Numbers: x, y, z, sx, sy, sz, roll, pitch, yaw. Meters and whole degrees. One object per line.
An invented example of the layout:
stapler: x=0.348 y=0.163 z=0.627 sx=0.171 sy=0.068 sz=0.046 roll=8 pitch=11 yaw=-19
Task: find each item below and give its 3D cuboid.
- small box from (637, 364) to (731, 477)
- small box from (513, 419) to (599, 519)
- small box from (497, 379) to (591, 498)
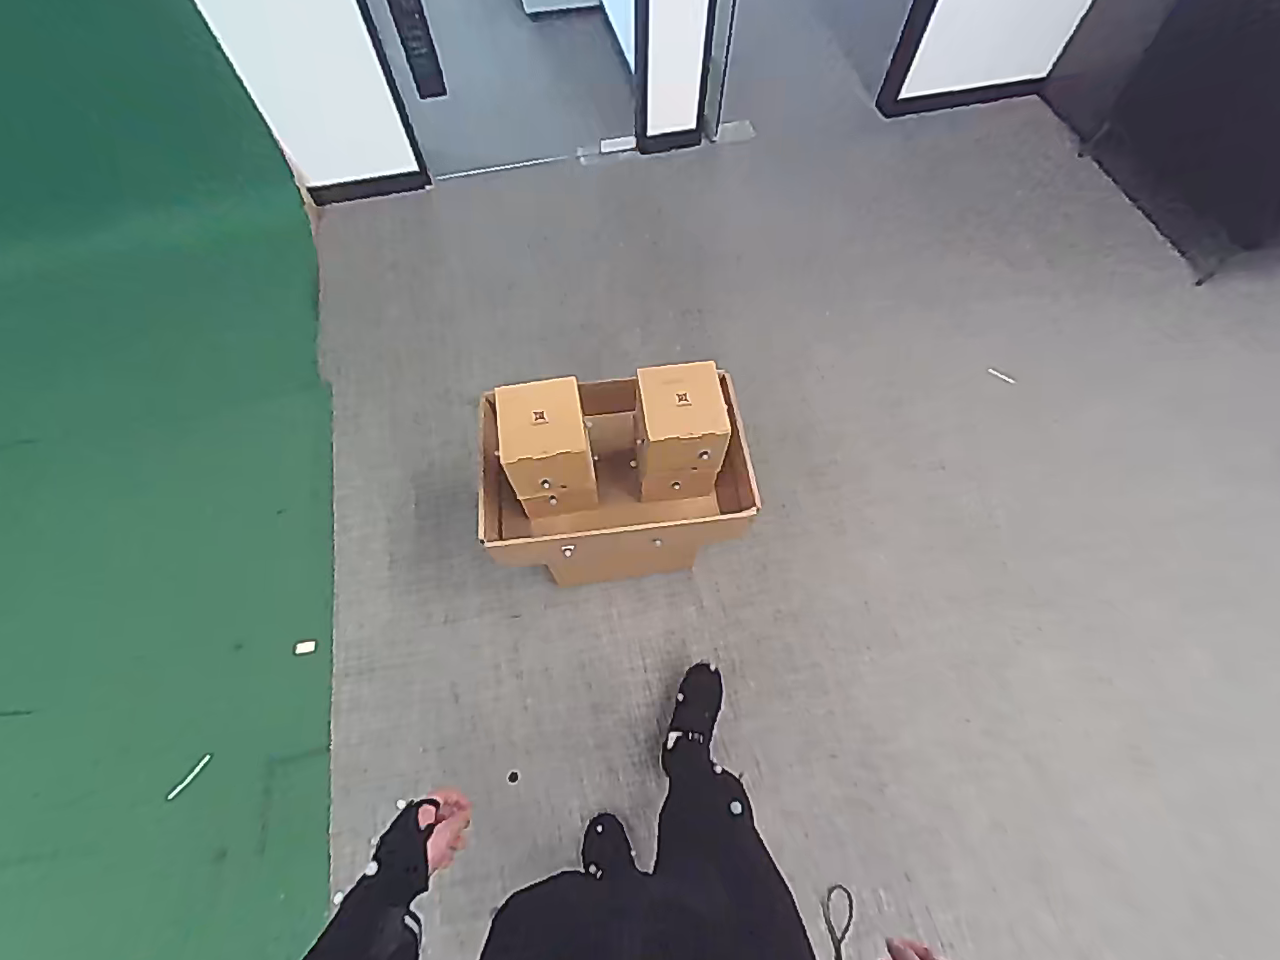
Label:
small box: x=0.086 y=-0.117 z=1.136 sx=0.168 sy=0.176 sz=0.179 roll=-6 pitch=63 yaw=-4
small box: x=-0.195 y=-0.020 z=1.267 sx=0.179 sy=0.176 sz=0.168 roll=-8 pitch=64 yaw=-4
small box: x=-0.194 y=-0.082 z=1.116 sx=0.168 sy=0.176 sz=0.179 roll=-9 pitch=65 yaw=-5
